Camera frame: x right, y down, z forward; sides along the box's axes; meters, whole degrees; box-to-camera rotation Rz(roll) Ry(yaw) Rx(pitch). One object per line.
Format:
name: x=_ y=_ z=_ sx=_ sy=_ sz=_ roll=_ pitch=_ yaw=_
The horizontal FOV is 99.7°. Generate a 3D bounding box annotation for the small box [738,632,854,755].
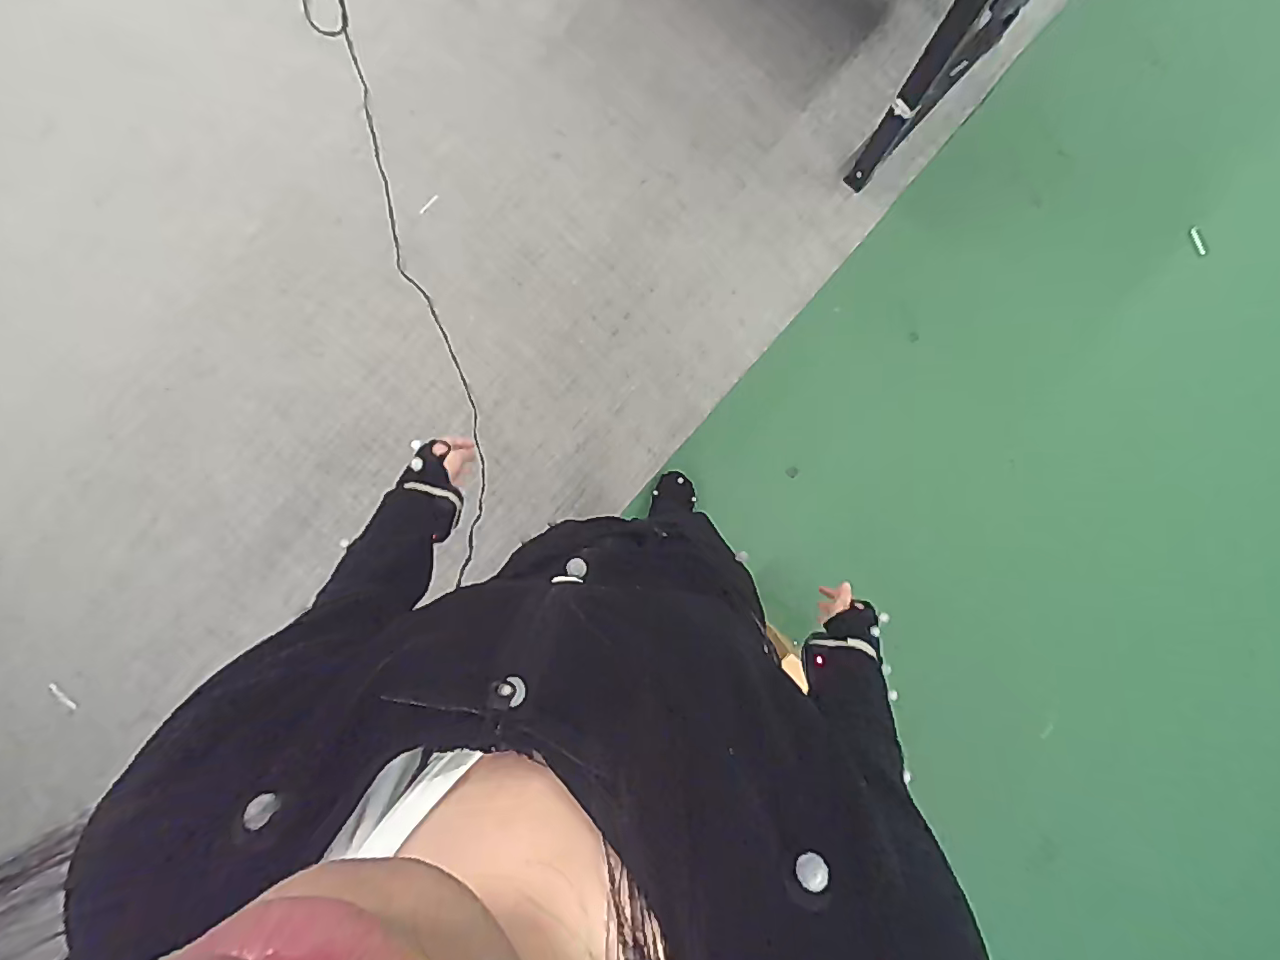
small box: x=0.351 y=0.482 z=1.252 sx=0.179 sy=0.176 sz=0.168 roll=41 pitch=92 yaw=2
